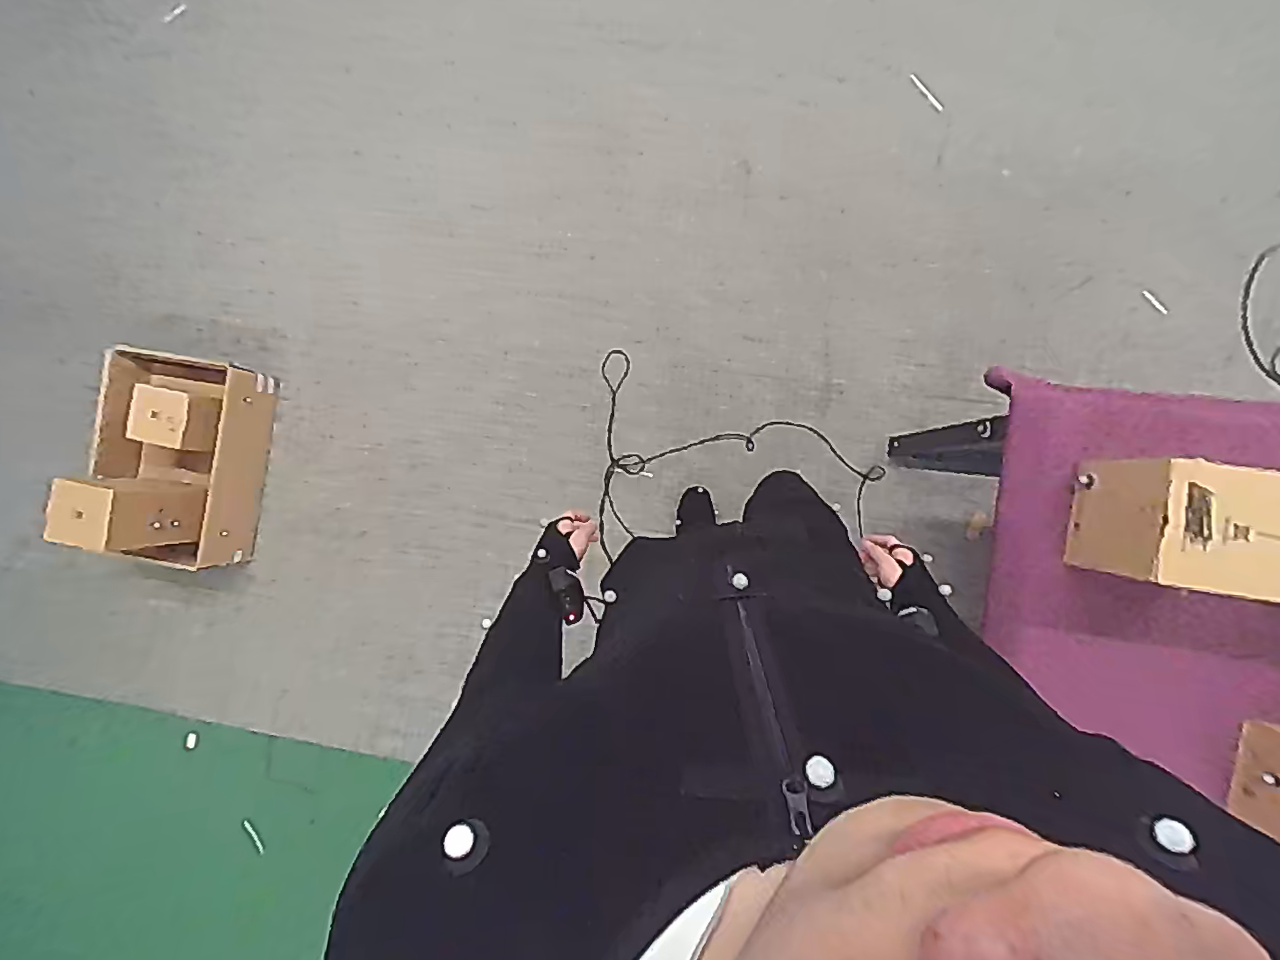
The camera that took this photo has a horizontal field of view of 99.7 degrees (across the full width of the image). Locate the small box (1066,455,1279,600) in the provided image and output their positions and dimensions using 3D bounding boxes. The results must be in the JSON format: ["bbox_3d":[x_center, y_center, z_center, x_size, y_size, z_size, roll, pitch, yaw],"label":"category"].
[{"bbox_3d":[0.761,0.061,0.771,0.179,0.176,0.168,9,91,3],"label":"small box"}]

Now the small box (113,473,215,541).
[{"bbox_3d":[-1.432,0.078,1.616,0.179,0.176,0.168,11,91,5],"label":"small box"}]

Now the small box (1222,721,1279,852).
[{"bbox_3d":[1.005,0.465,0.760,0.179,0.176,0.168,10,92,5],"label":"small box"}]

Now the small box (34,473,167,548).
[{"bbox_3d":[-1.442,0.079,1.454,0.179,0.176,0.168,11,91,4],"label":"small box"}]
